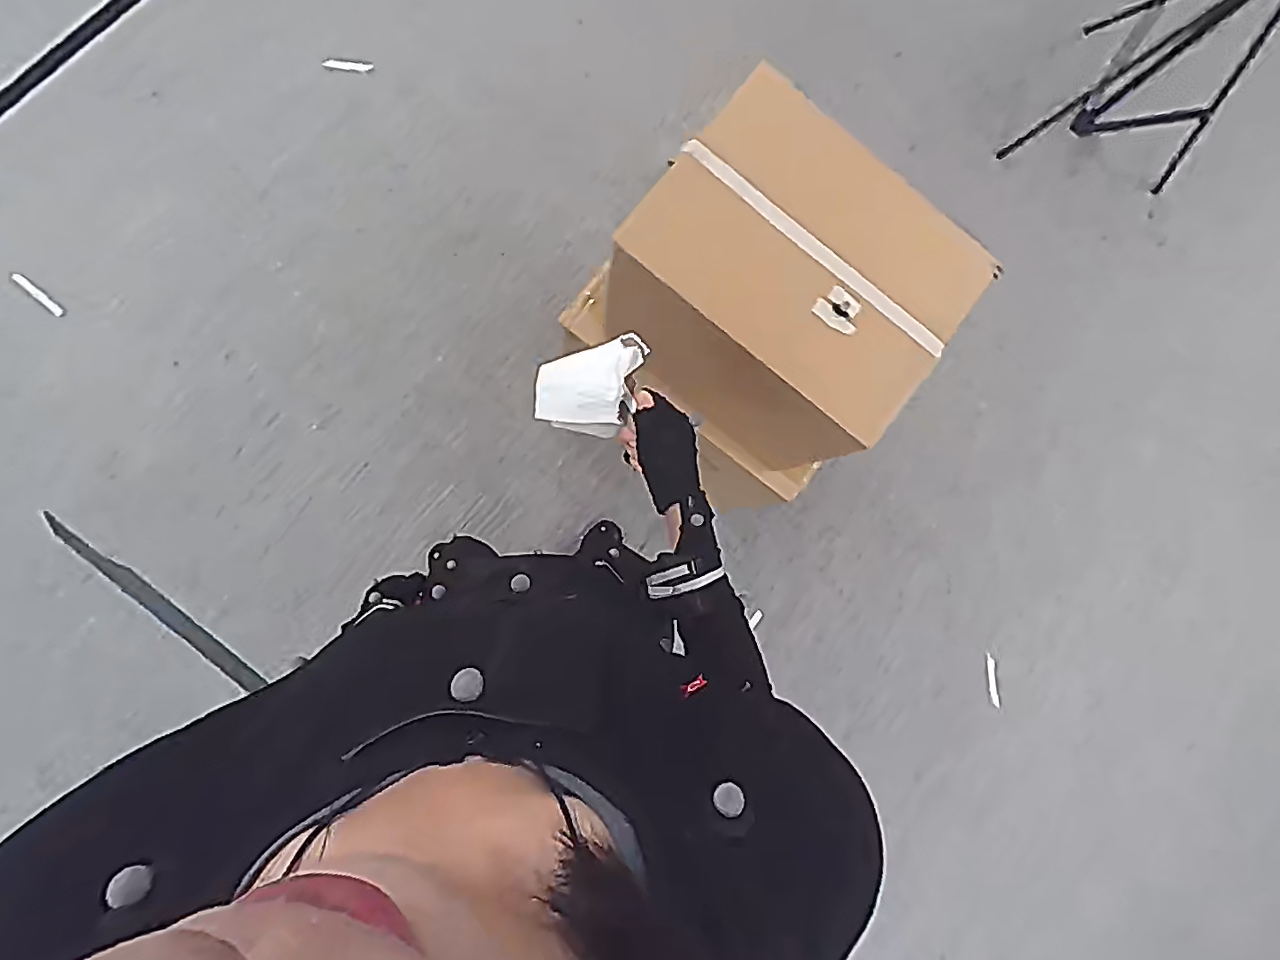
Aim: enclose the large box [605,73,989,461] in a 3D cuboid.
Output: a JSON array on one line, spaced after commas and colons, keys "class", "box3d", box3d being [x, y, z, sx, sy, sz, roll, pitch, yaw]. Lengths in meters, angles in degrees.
[{"class": "large box", "box3d": [0.200, -0.280, 0.834, 0.408, 0.320, 0.320, 38, 83, -3]}]
